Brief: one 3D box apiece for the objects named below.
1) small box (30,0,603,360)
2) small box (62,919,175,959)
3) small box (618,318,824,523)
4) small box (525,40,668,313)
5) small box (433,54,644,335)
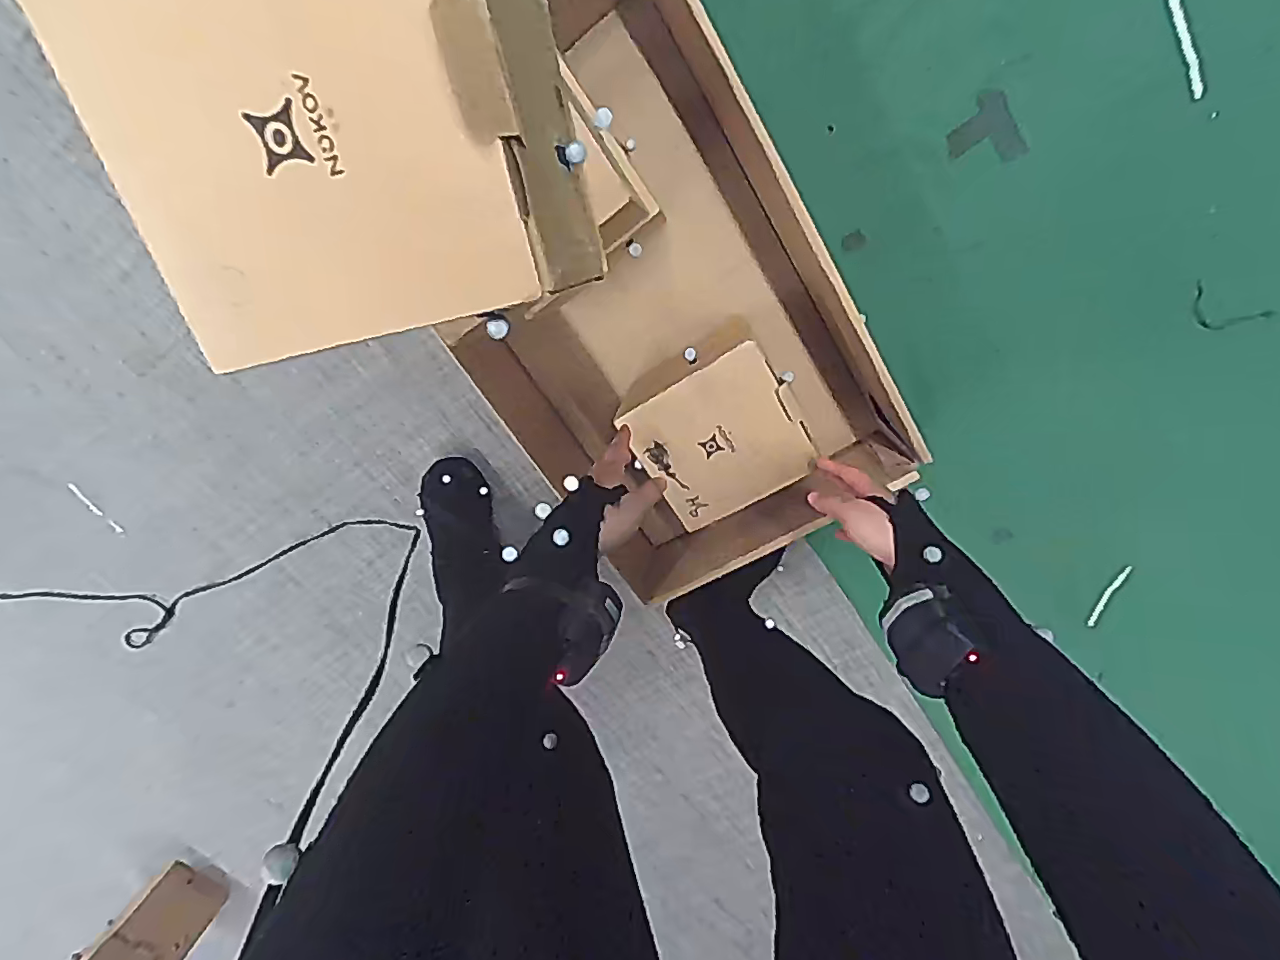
[{"bbox_3d":[-0.132,-0.174,0.291,0.179,0.176,0.168,-10,112,9],"label":"small box"},{"bbox_3d":[-1.190,1.115,1.182,0.168,0.176,0.179,-35,104,17],"label":"small box"},{"bbox_3d":[0.096,-0.082,0.665,0.179,0.176,0.168,-28,105,17],"label":"small box"},{"bbox_3d":[-0.085,-0.309,0.585,0.179,0.176,0.168,-32,106,17],"label":"small box"},{"bbox_3d":[-0.112,-0.244,0.437,0.179,0.176,0.168,-32,107,17],"label":"small box"}]
